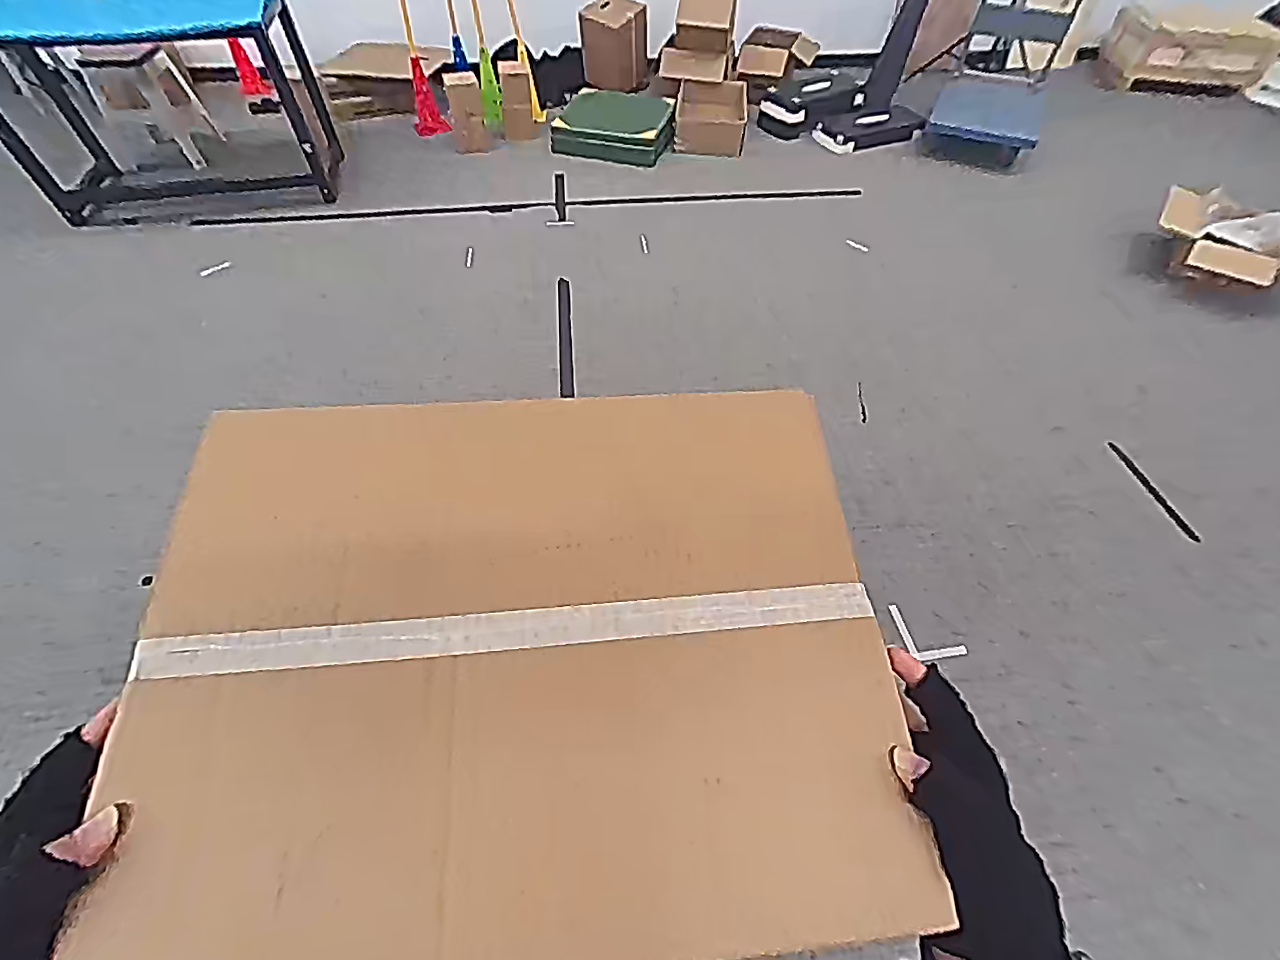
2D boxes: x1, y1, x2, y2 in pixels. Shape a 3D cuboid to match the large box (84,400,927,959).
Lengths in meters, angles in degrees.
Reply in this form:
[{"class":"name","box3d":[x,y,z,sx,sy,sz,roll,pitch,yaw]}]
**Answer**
[{"class":"large box","box3d":[-0.072,0.156,0.447,0.408,0.320,0.320,-3,64,-5]}]
